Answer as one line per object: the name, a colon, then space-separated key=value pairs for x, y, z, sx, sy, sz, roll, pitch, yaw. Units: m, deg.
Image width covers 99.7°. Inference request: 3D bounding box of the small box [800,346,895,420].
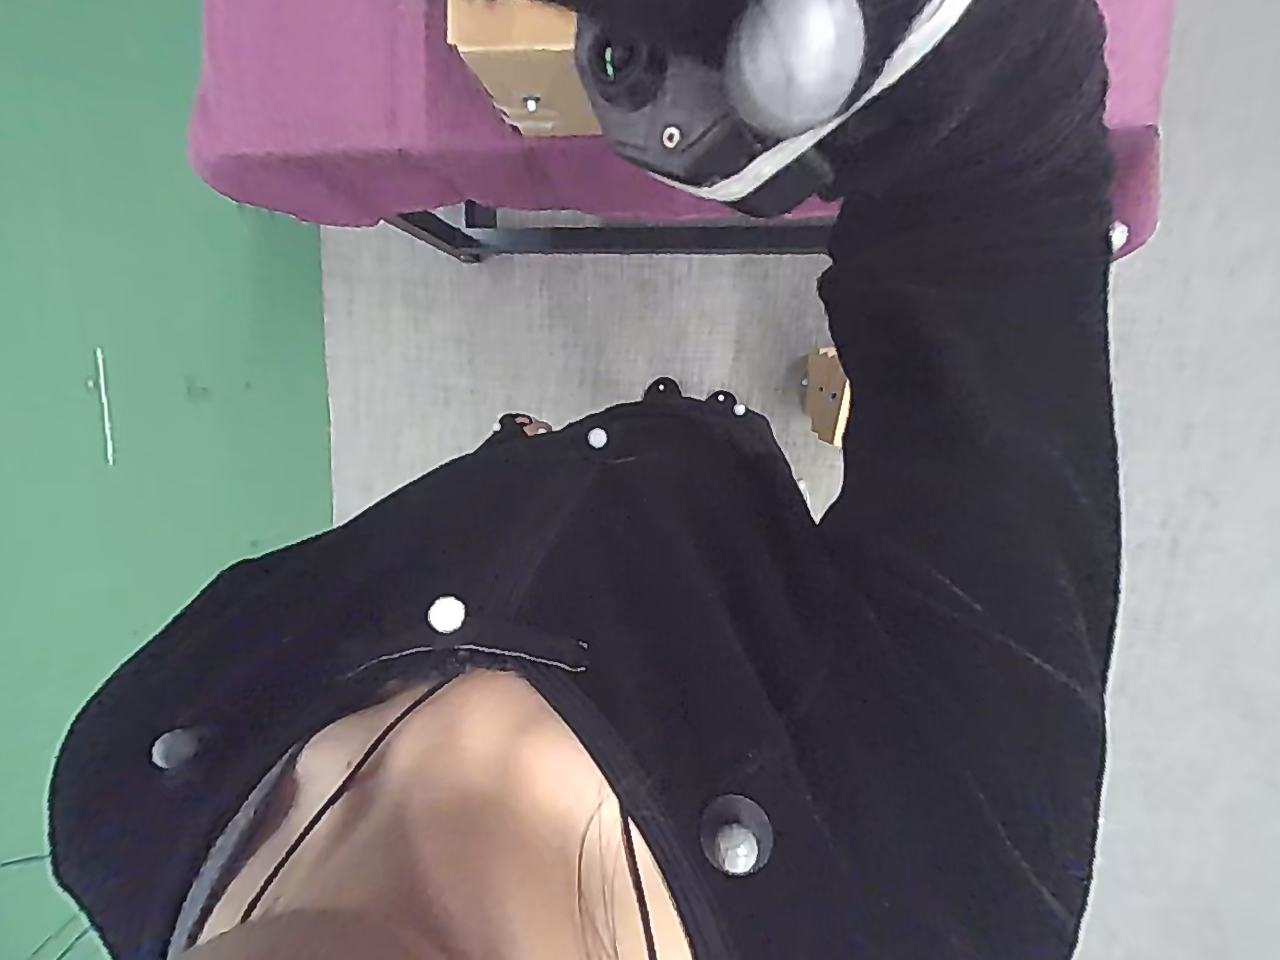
small box: x=0.498 y=-0.237 z=1.320 sx=0.179 sy=0.176 sz=0.168 roll=3 pitch=99 yaw=9
